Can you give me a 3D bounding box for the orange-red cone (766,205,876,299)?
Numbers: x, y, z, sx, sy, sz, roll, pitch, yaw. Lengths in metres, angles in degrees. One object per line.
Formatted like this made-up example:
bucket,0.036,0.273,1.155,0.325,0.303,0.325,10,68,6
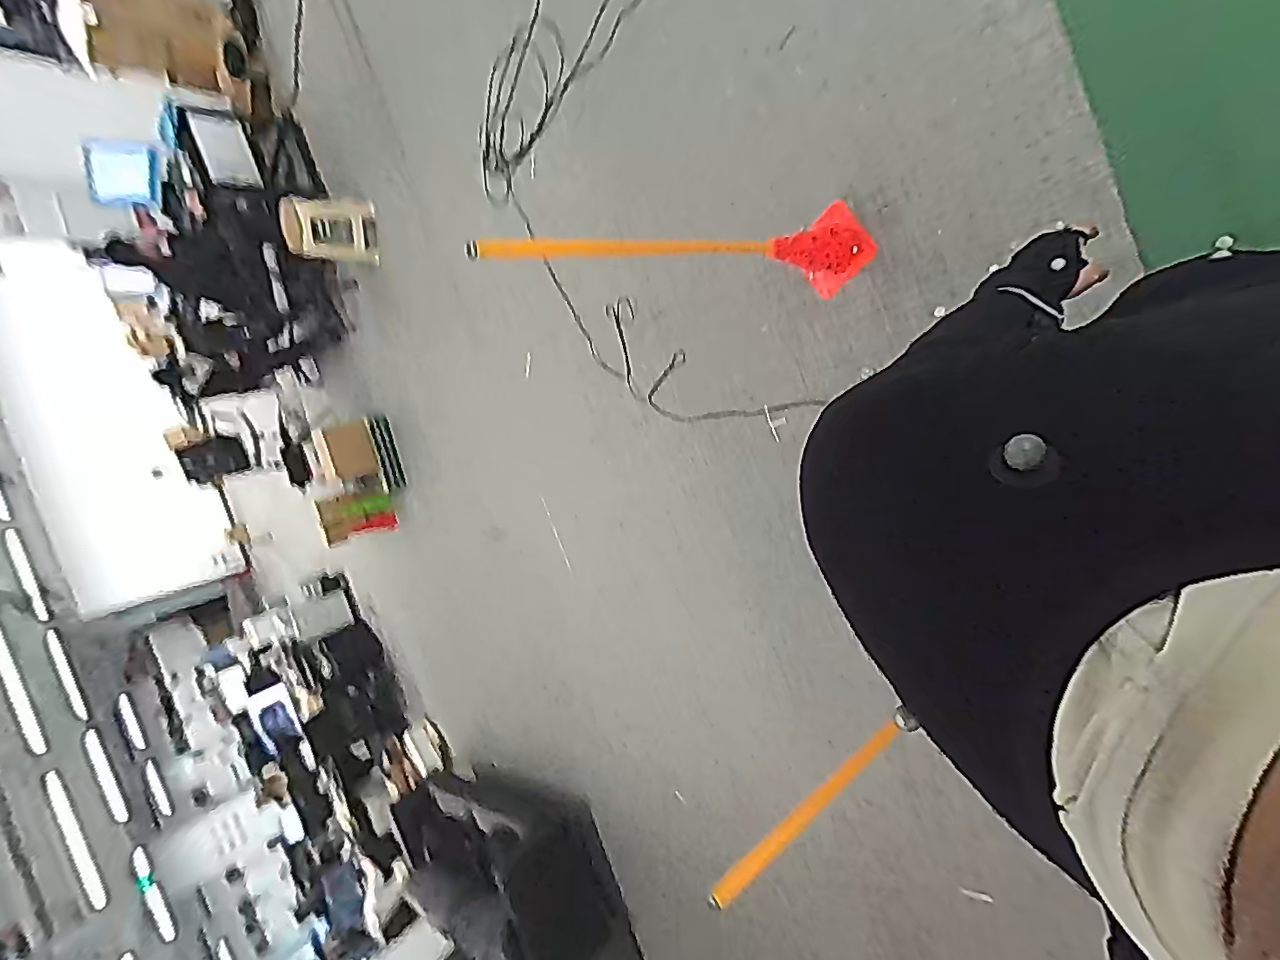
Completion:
orange-red cone,0.450,-0.623,1.469,0.198,0.360,0.199,-40,75,45
